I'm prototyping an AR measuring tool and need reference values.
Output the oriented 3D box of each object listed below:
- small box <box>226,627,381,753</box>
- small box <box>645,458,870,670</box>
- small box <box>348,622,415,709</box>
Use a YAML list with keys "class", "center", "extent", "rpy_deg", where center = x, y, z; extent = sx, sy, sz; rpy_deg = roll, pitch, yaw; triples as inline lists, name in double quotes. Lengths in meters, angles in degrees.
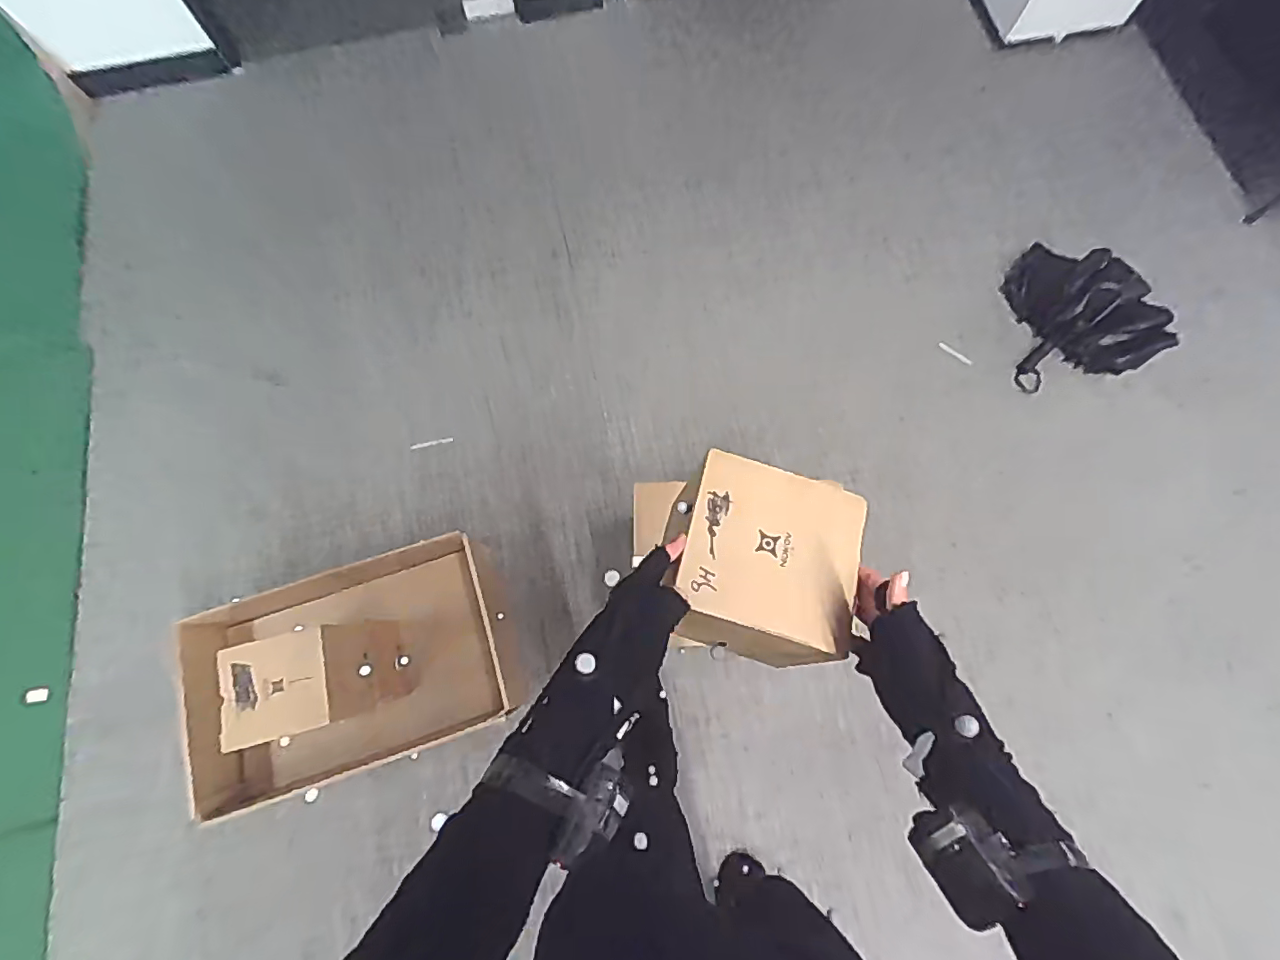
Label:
- class: "small box"
  center: [-0.598, 0.371, 0.974]
  extent: [0.179, 0.176, 0.168]
  rpy_deg: [-14, 74, -5]
- class: "small box"
  center: [0.120, 0.102, 0.596]
  extent: [0.179, 0.176, 0.168]
  rpy_deg: [18, 67, -3]
- class: "small box"
  center: [-0.602, 0.407, 1.135]
  extent: [0.179, 0.176, 0.168]
  rpy_deg: [-17, 75, -6]
